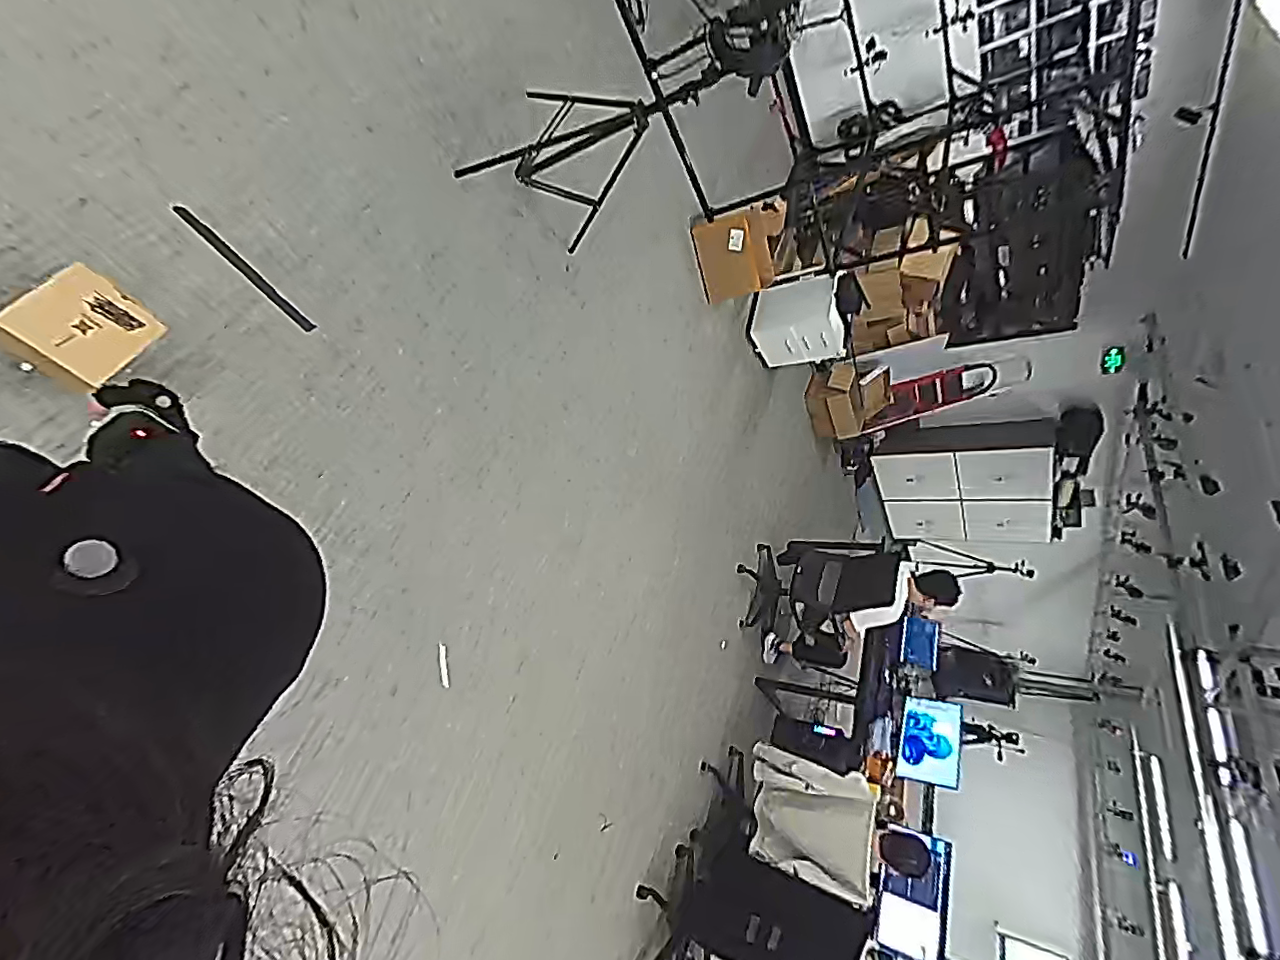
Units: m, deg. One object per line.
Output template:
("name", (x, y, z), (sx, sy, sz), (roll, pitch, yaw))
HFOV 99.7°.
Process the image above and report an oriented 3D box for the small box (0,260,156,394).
("small box", (-1.104, -0.287, 1.037), (0.168, 0.176, 0.179), (54, 48, -39))
